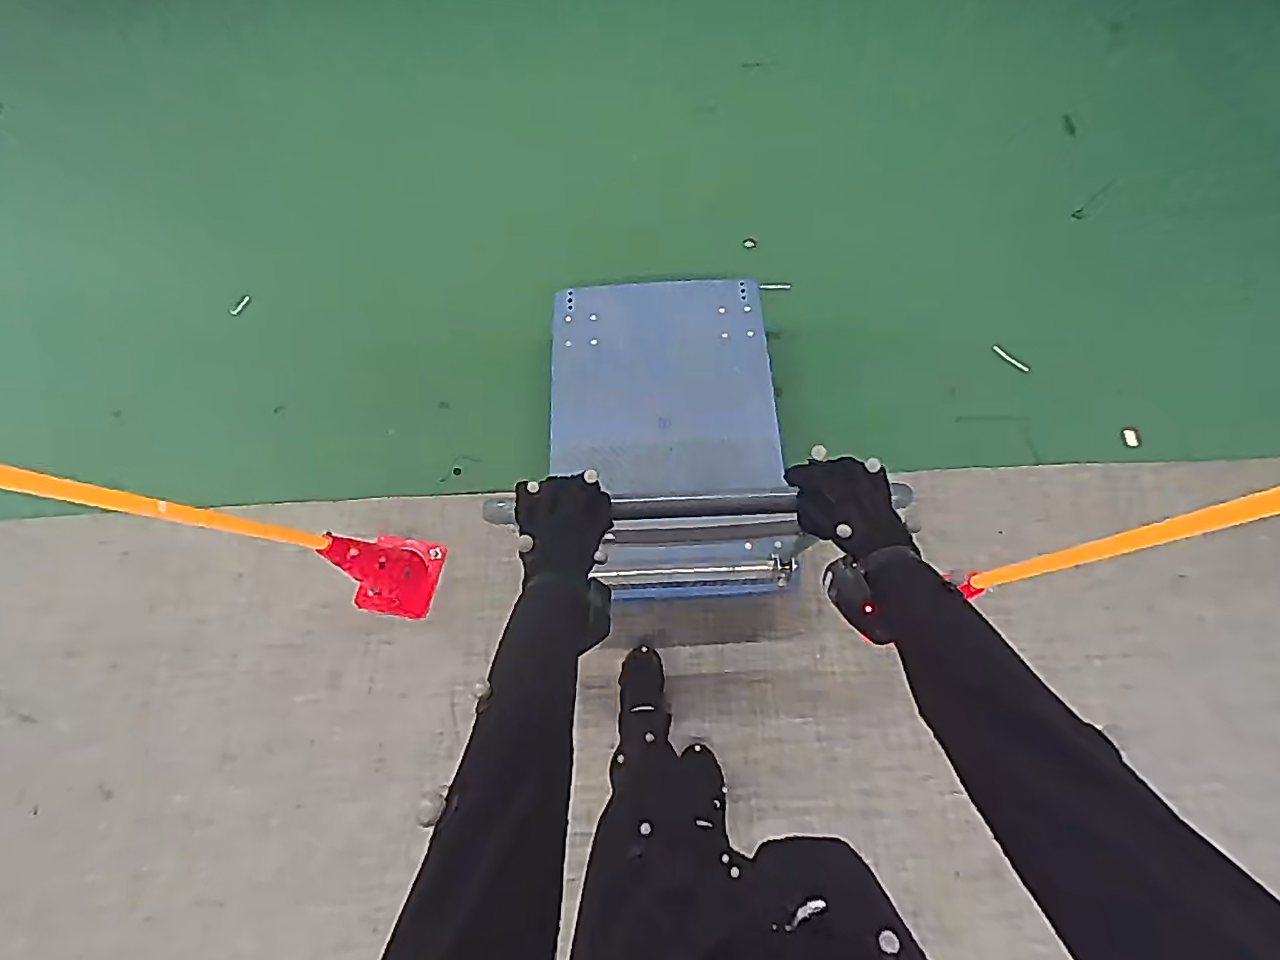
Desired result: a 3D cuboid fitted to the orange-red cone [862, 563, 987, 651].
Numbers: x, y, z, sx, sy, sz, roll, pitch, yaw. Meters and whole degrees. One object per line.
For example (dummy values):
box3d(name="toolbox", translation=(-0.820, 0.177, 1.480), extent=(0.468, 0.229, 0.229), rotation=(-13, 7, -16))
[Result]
box3d(name="orange-red cone", translation=(0.651, 0.256, 1.195), extent=(0.198, 0.360, 0.199), rotation=(8, 70, 5))
